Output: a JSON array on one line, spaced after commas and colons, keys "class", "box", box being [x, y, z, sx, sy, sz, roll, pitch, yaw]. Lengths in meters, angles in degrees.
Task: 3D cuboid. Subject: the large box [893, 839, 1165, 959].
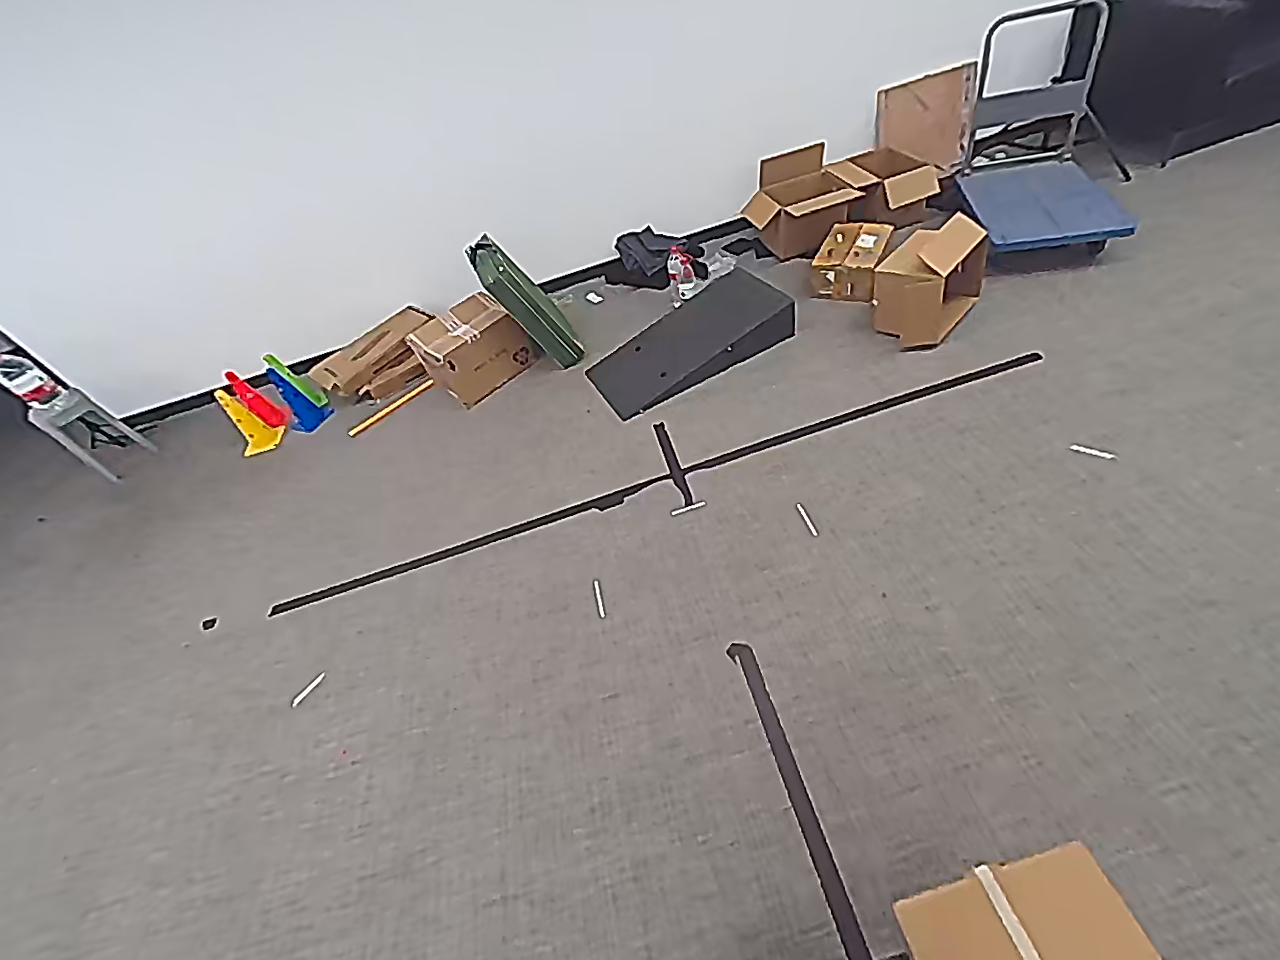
[{"class": "large box", "box": [0.647, 0.847, 0.836, 0.320, 0.320, 0.408, -24, 47, 5]}]
